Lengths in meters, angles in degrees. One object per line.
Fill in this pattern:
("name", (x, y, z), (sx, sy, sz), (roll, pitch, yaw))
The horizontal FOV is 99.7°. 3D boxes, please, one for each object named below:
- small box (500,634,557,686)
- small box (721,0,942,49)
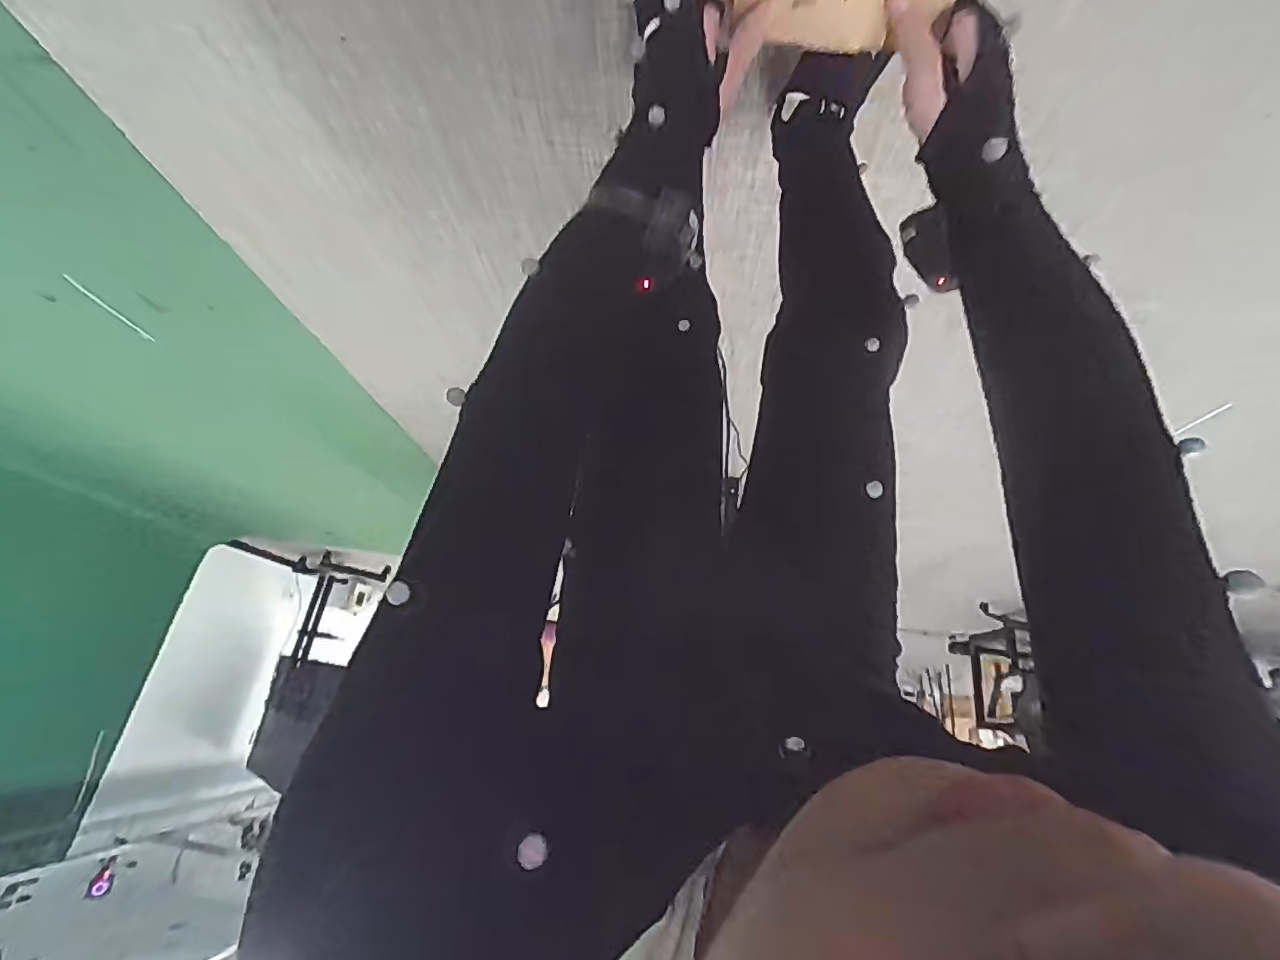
("small box", (-0.433, 0.713, 2.136), (0.168, 0.176, 0.179), (7, 159, 5))
("small box", (0.157, -0.465, 0.400), (0.168, 0.176, 0.179), (8, 151, 4))
